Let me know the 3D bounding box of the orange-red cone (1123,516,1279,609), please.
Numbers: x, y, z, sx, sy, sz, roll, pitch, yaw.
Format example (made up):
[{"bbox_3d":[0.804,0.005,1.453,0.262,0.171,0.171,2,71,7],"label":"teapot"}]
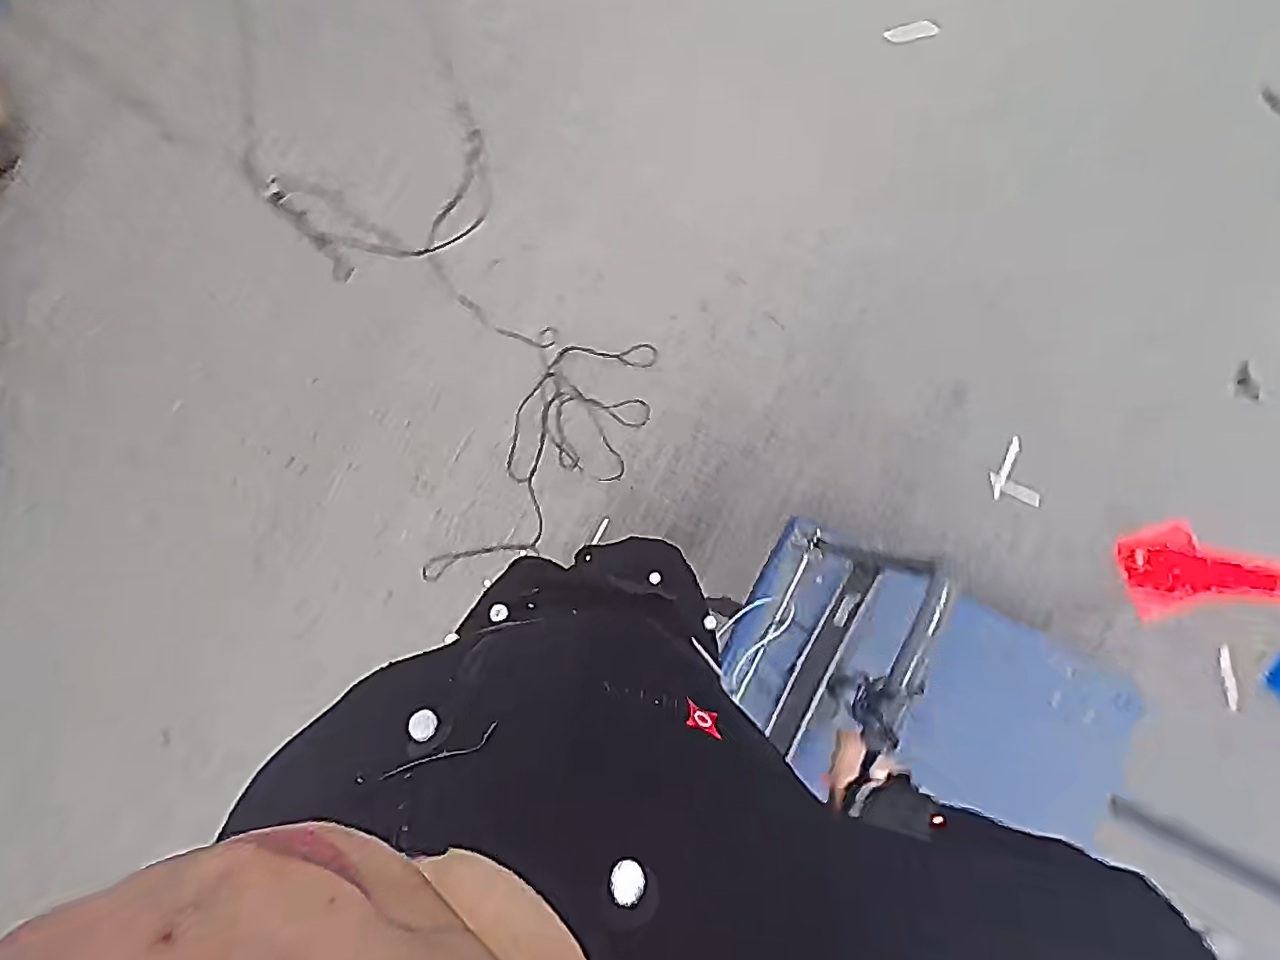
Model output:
[{"bbox_3d":[1.322,0.198,1.176,0.198,0.360,0.199,-19,88,0],"label":"orange-red cone"}]

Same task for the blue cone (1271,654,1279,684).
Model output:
[{"bbox_3d":[1.682,0.458,1.173,0.192,0.380,0.193,40,88,3],"label":"blue cone"}]
